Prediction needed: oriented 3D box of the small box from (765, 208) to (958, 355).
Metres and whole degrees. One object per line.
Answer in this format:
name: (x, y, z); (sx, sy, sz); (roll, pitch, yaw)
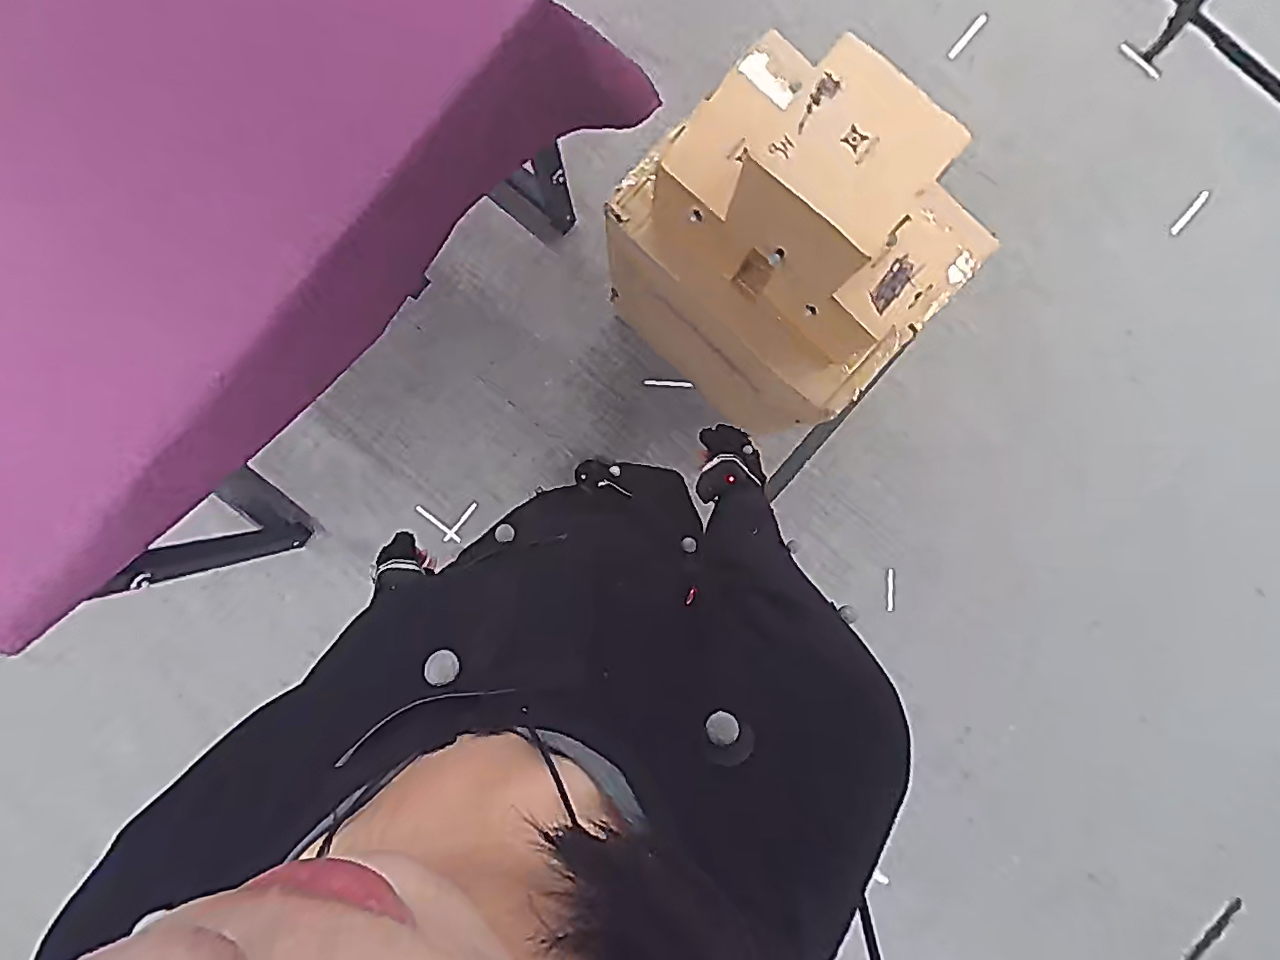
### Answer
small box: (0.316, -0.307, 0.810); (0.179, 0.176, 0.168); (44, 91, 1)

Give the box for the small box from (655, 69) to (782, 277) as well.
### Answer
small box: (0.135, -0.437, 0.805); (0.179, 0.176, 0.168); (40, 92, -3)

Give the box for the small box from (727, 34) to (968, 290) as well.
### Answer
small box: (0.228, -0.352, 0.646); (0.179, 0.176, 0.168); (40, 91, -1)
